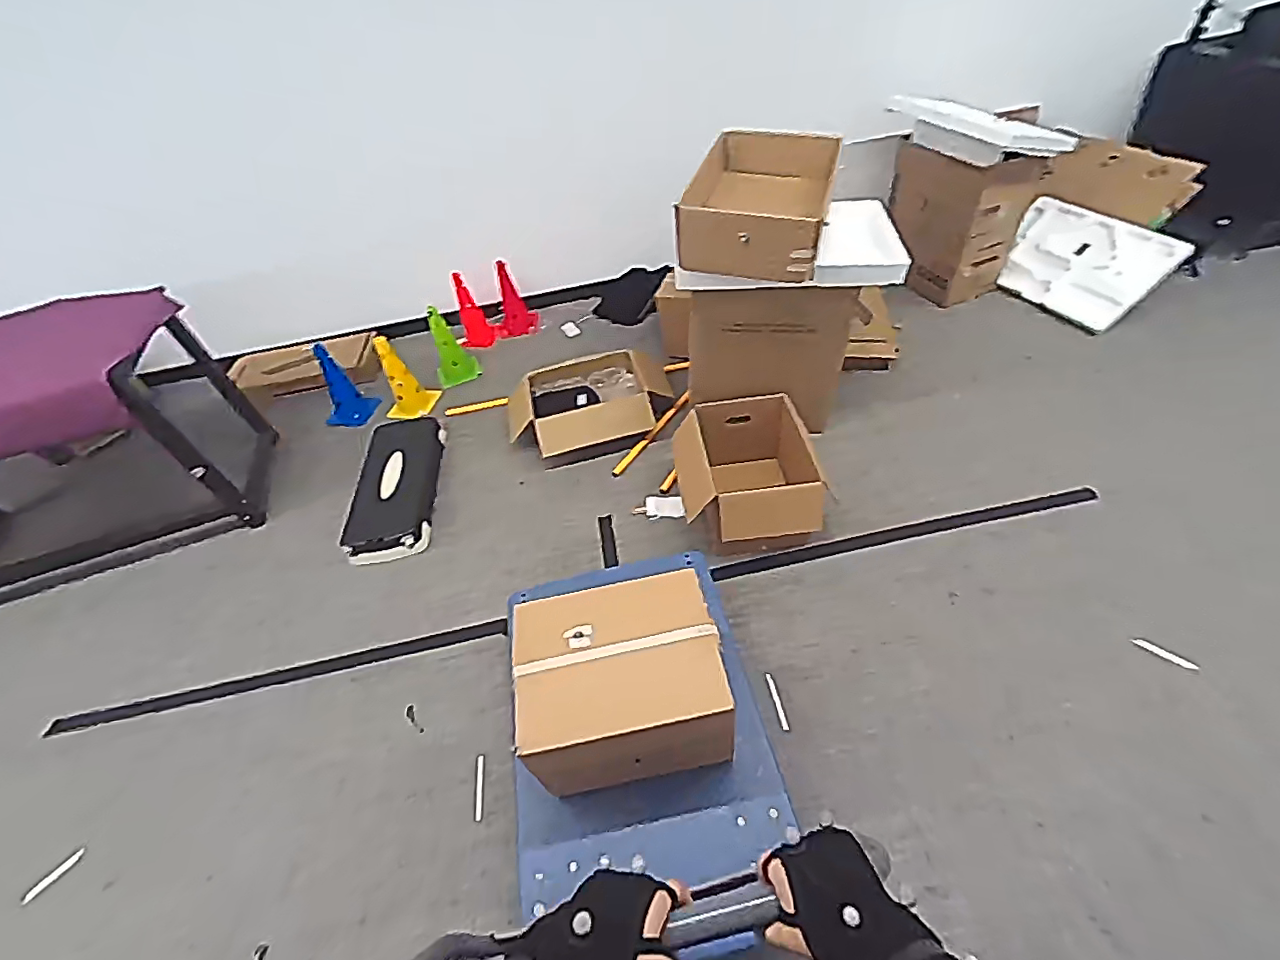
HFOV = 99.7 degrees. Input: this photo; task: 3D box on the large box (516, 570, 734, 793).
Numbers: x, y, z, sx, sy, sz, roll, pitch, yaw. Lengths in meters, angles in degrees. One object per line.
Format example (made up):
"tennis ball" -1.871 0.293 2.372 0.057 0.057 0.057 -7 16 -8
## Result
"large box" -0.031 0.448 1.196 0.408 0.320 0.320 -12 46 -2
